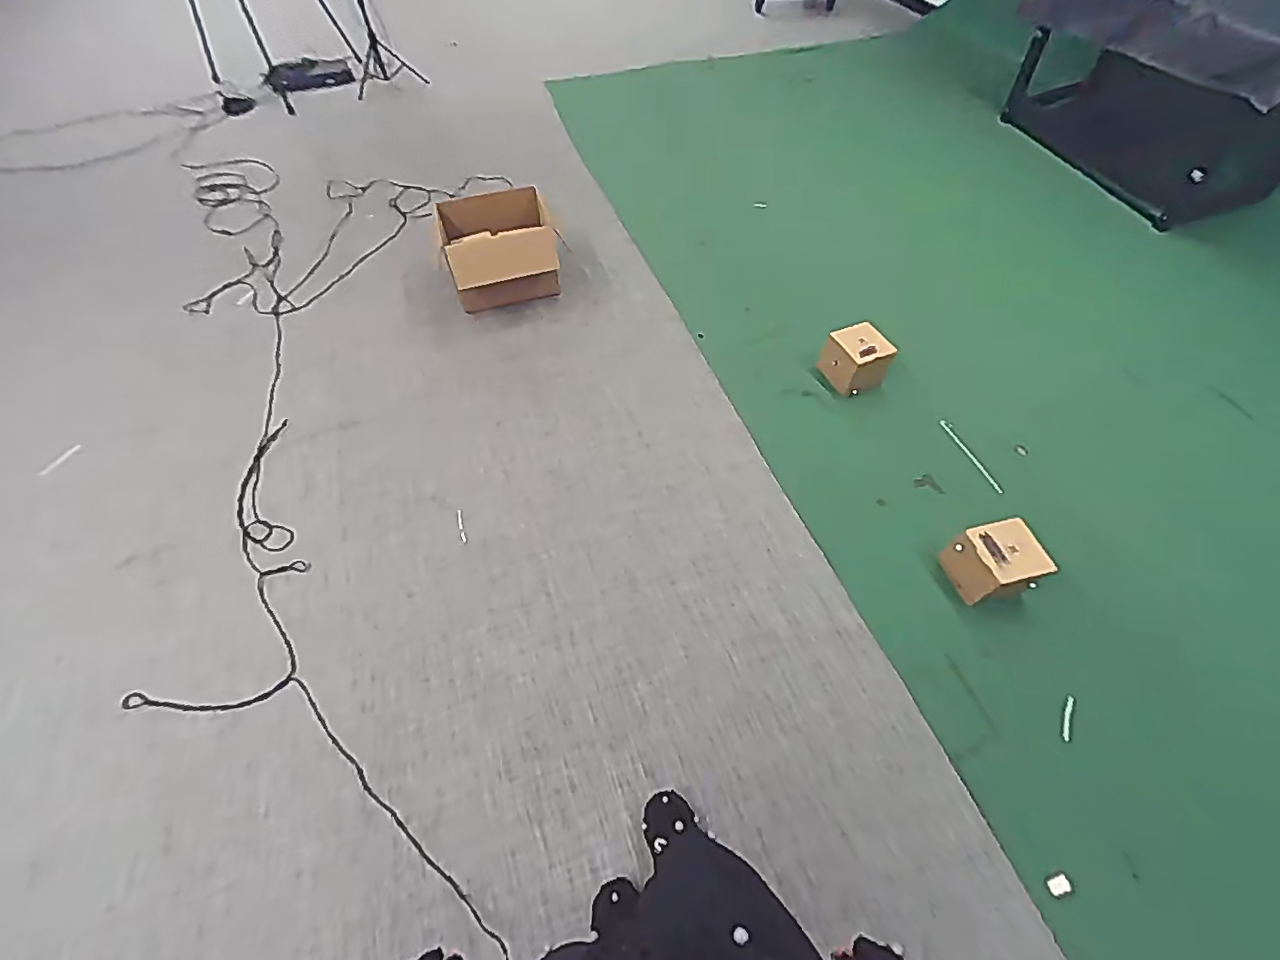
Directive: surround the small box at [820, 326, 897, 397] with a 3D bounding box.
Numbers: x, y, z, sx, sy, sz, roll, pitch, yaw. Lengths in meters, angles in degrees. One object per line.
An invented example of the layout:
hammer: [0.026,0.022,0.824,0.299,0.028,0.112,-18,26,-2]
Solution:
small box: [0.778,-0.418,1.941,0.168,0.176,0.179,-18,57,-12]
